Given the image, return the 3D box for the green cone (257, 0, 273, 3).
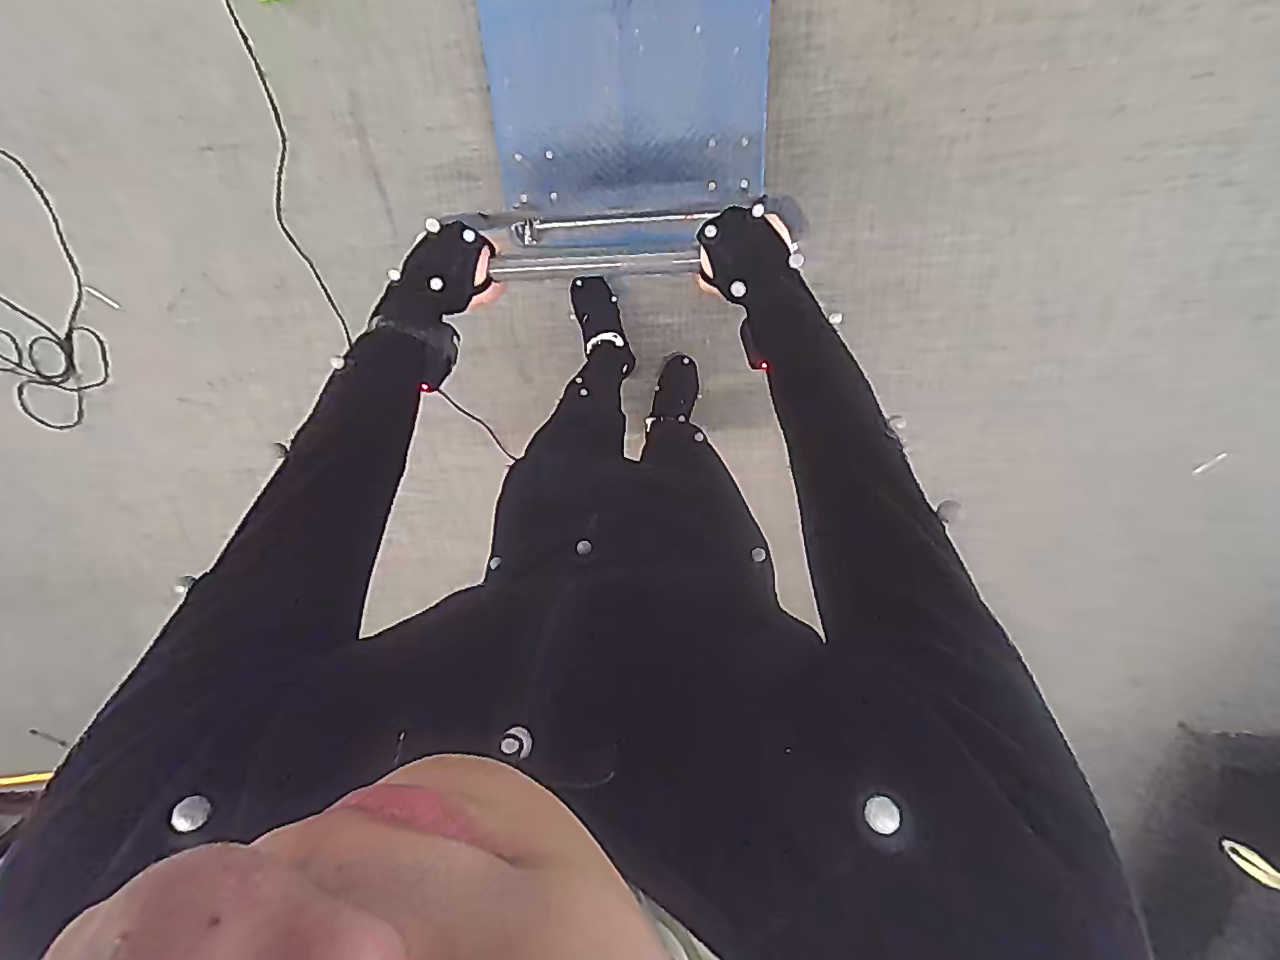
[{"bbox_3d":[-0.821,-1.125,1.034,0.202,0.368,0.200,-5,112,8],"label":"green cone"}]
